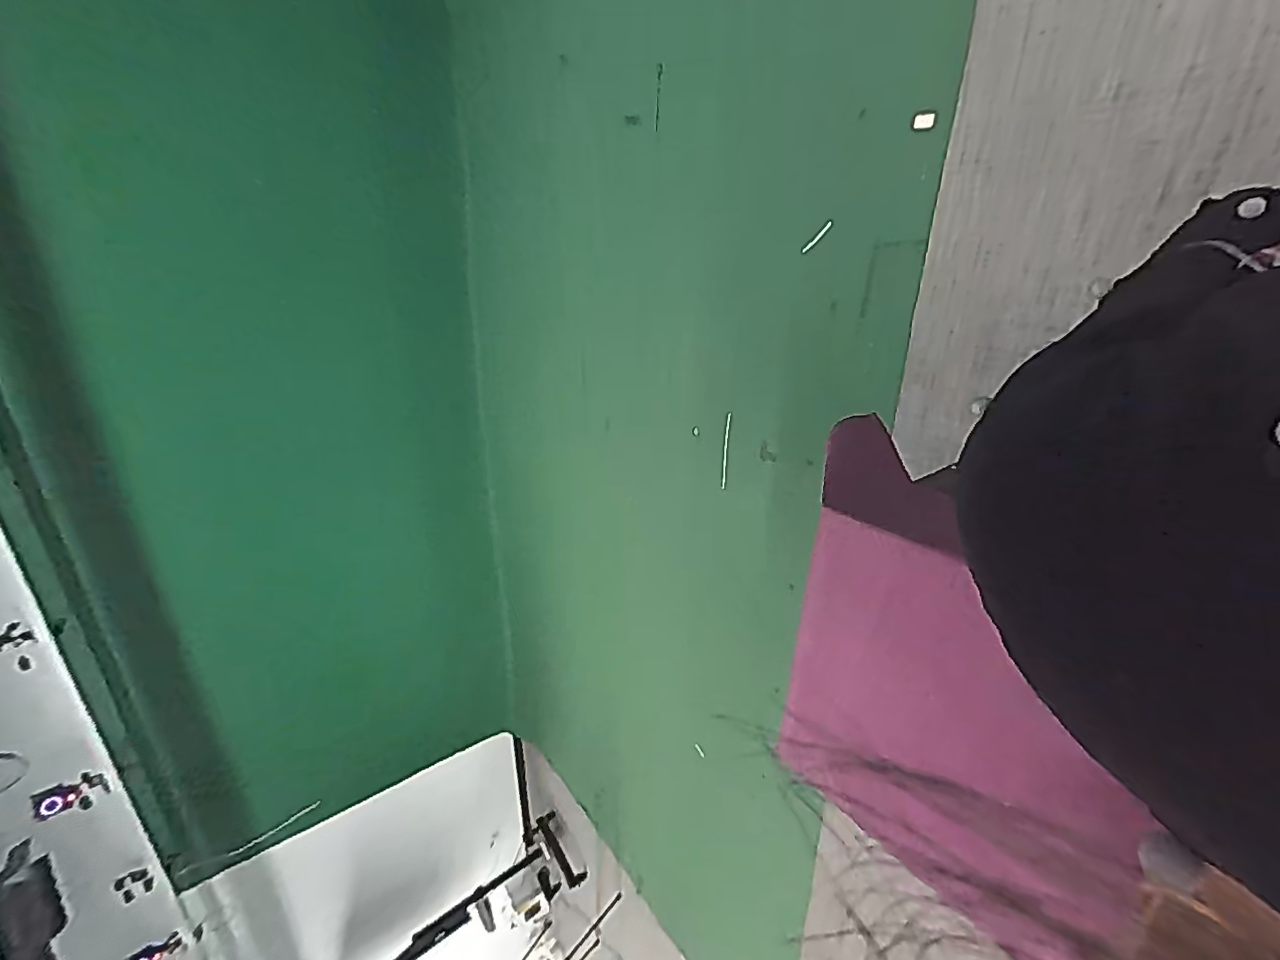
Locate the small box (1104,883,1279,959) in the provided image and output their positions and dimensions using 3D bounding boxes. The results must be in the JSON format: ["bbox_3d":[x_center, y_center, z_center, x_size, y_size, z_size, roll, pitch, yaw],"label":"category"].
[{"bbox_3d":[0.492,0.508,0.457,0.168,0.176,0.179,29,124,46],"label":"small box"}]

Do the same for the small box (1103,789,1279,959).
[{"bbox_3d":[0.622,0.465,0.548,0.168,0.176,0.179,29,126,46],"label":"small box"}]
